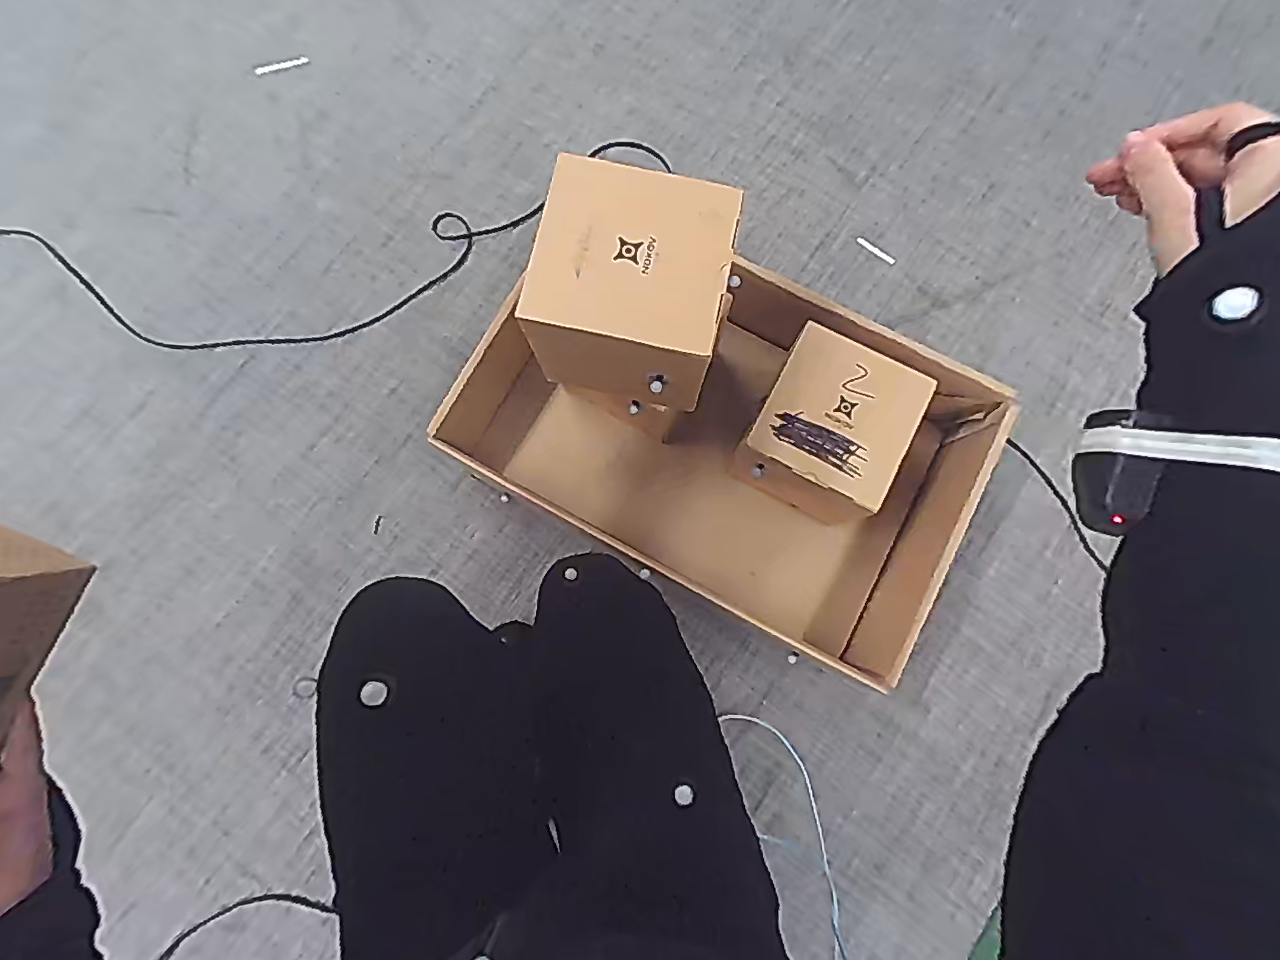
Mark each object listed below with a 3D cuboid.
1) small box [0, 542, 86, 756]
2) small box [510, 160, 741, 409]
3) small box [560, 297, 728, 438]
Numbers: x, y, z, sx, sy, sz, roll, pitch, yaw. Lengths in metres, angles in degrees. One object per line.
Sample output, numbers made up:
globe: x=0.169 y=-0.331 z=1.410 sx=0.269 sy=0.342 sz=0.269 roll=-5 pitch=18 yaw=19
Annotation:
small box: x=-0.383 y=0.084 z=0.186 sx=0.179 sy=0.176 sz=0.168 roll=26 pitch=85 yaw=-6
small box: x=-0.010 y=-0.182 z=0.556 sx=0.179 sy=0.176 sz=0.168 roll=13 pitch=82 yaw=2
small box: x=-0.009 y=-0.174 z=0.720 sx=0.179 sy=0.176 sz=0.168 roll=29 pitch=82 yaw=3
